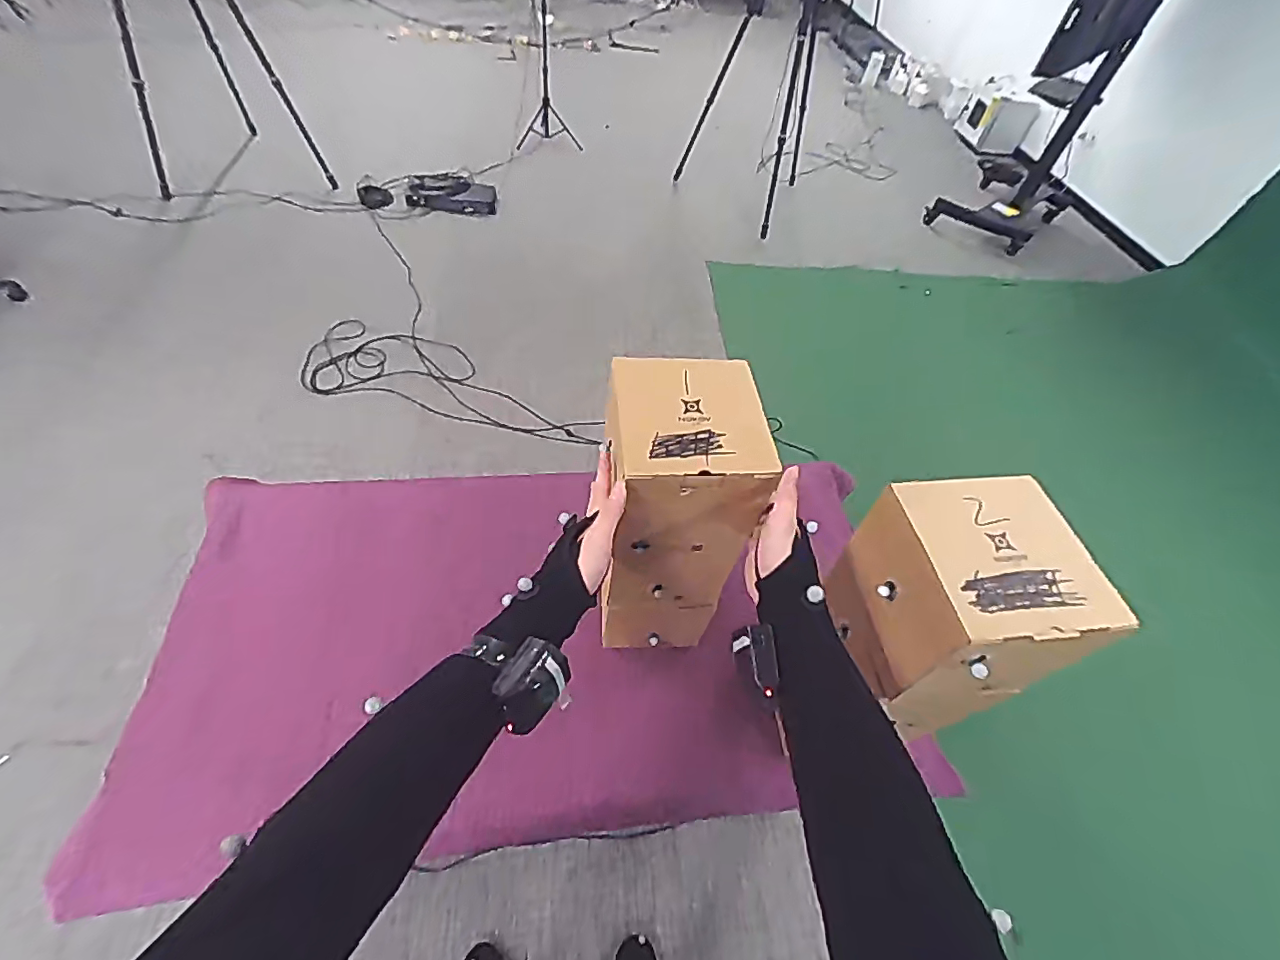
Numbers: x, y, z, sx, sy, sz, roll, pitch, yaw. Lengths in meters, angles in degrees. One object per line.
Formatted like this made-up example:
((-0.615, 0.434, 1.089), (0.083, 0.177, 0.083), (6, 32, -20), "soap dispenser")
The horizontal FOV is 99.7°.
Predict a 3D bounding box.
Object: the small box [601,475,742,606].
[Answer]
((0.033, 0.067, 0.790), (0.168, 0.176, 0.179), (-1, 54, -9), "small box")

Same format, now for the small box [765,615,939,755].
((0.314, 0.320, 0.839), (0.179, 0.176, 0.168), (1, 52, -7), "small box")

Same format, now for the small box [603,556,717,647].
((0.023, 0.168, 0.916), (0.168, 0.176, 0.179), (1, 53, -6), "small box")

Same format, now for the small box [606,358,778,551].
((0.047, -0.025, 0.654), (0.168, 0.176, 0.179), (0, 53, -8), "small box")

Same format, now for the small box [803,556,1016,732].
((0.332, 0.218, 0.713), (0.168, 0.176, 0.179), (0, 53, -6), "small box")
